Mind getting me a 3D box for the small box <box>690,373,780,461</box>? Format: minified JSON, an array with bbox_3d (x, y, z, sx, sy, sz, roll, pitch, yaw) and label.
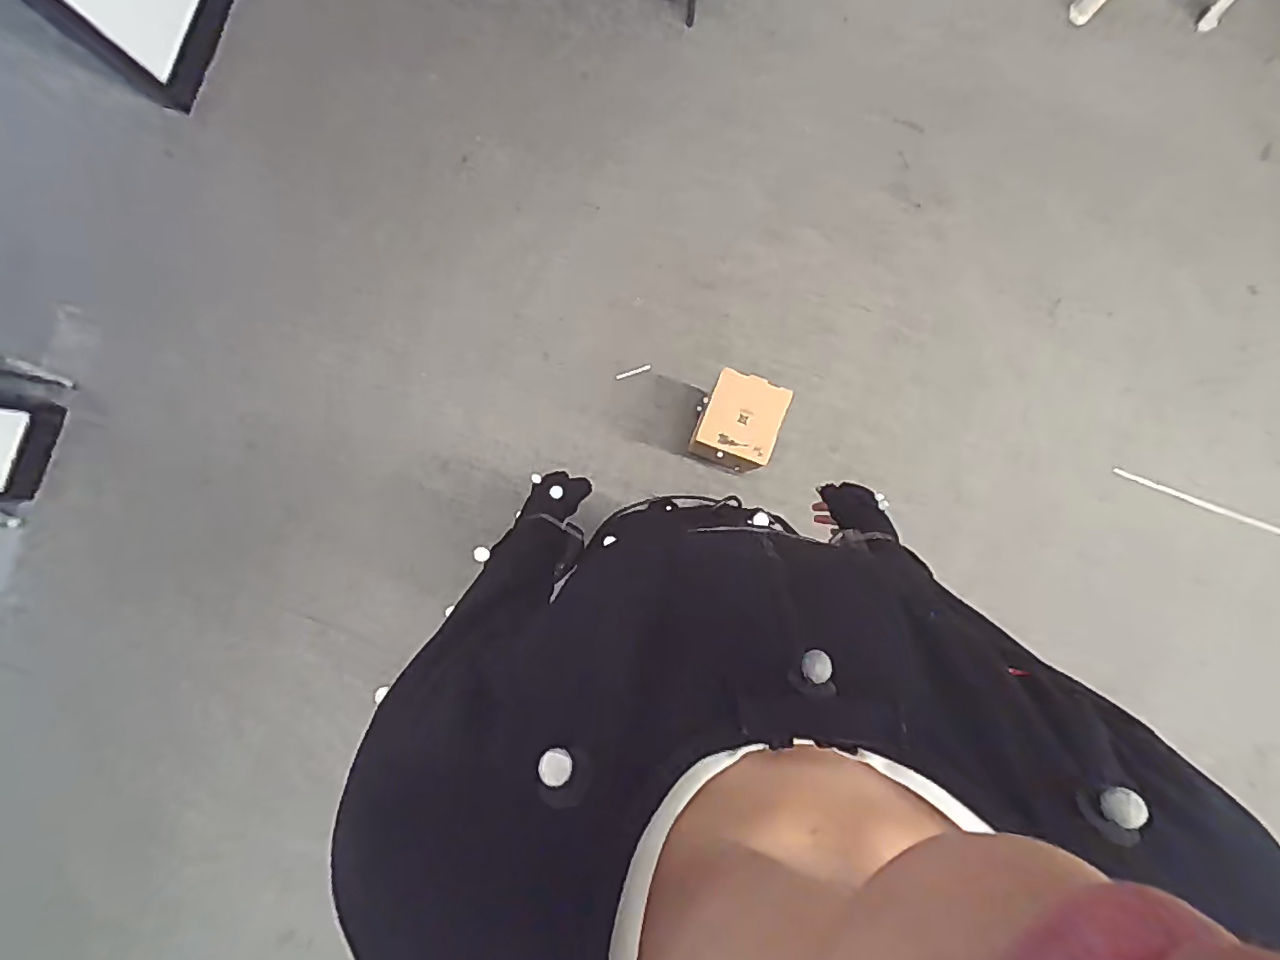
[{"bbox_3d":[0.238,-0.155,1.405,0.179,0.176,0.168,22,90,2],"label":"small box"}]
